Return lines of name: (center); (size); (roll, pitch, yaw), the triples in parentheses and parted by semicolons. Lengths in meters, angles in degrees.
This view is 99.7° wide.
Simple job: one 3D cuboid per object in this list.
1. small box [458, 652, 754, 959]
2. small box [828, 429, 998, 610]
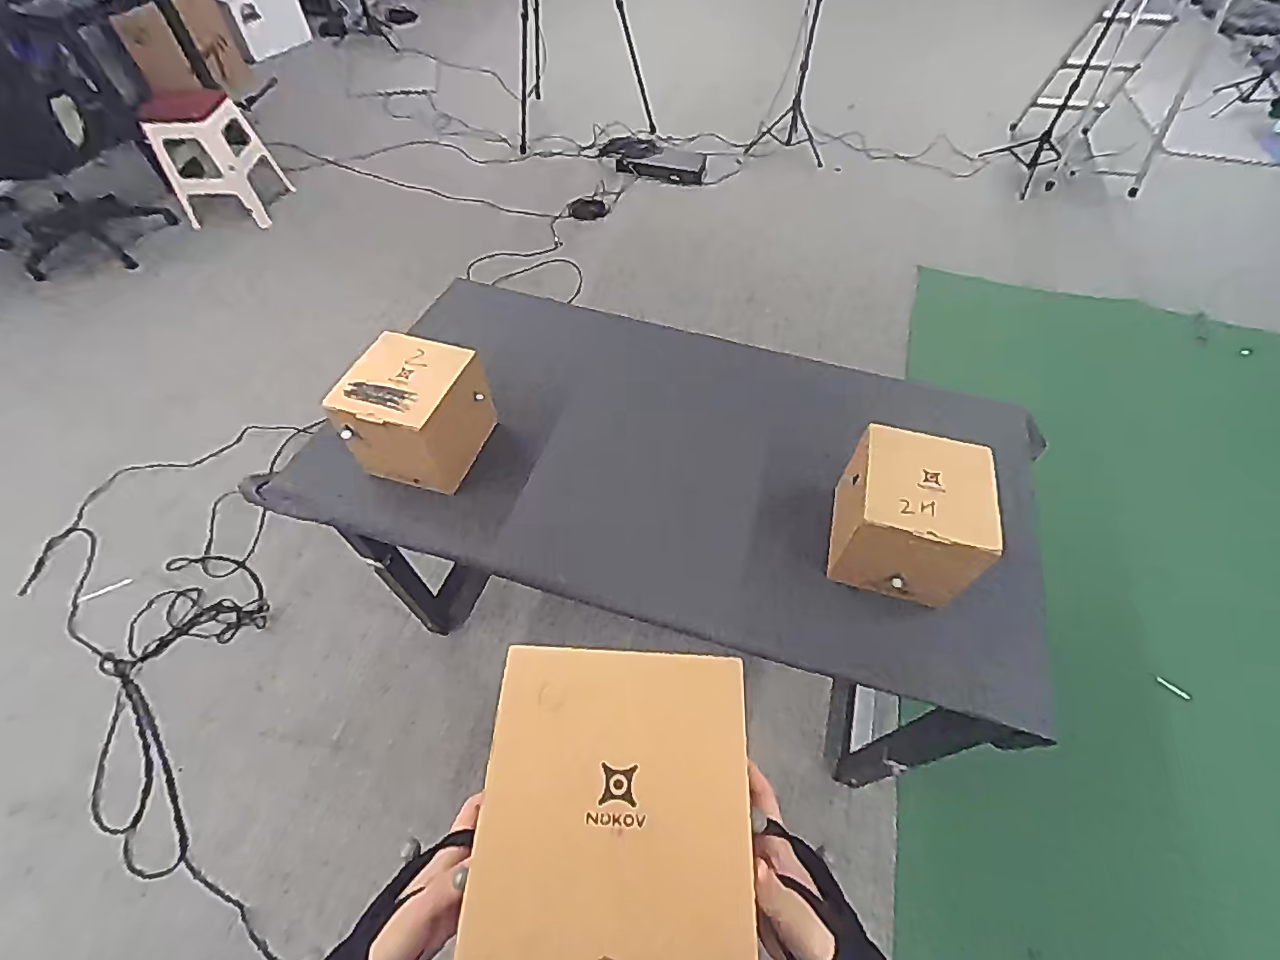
small box: (-0.019, 0.244, 0.405); (0.168, 0.176, 0.179); (3, 56, -1)
small box: (0.379, 0.059, 0.777); (0.168, 0.176, 0.179); (13, 55, 11)
